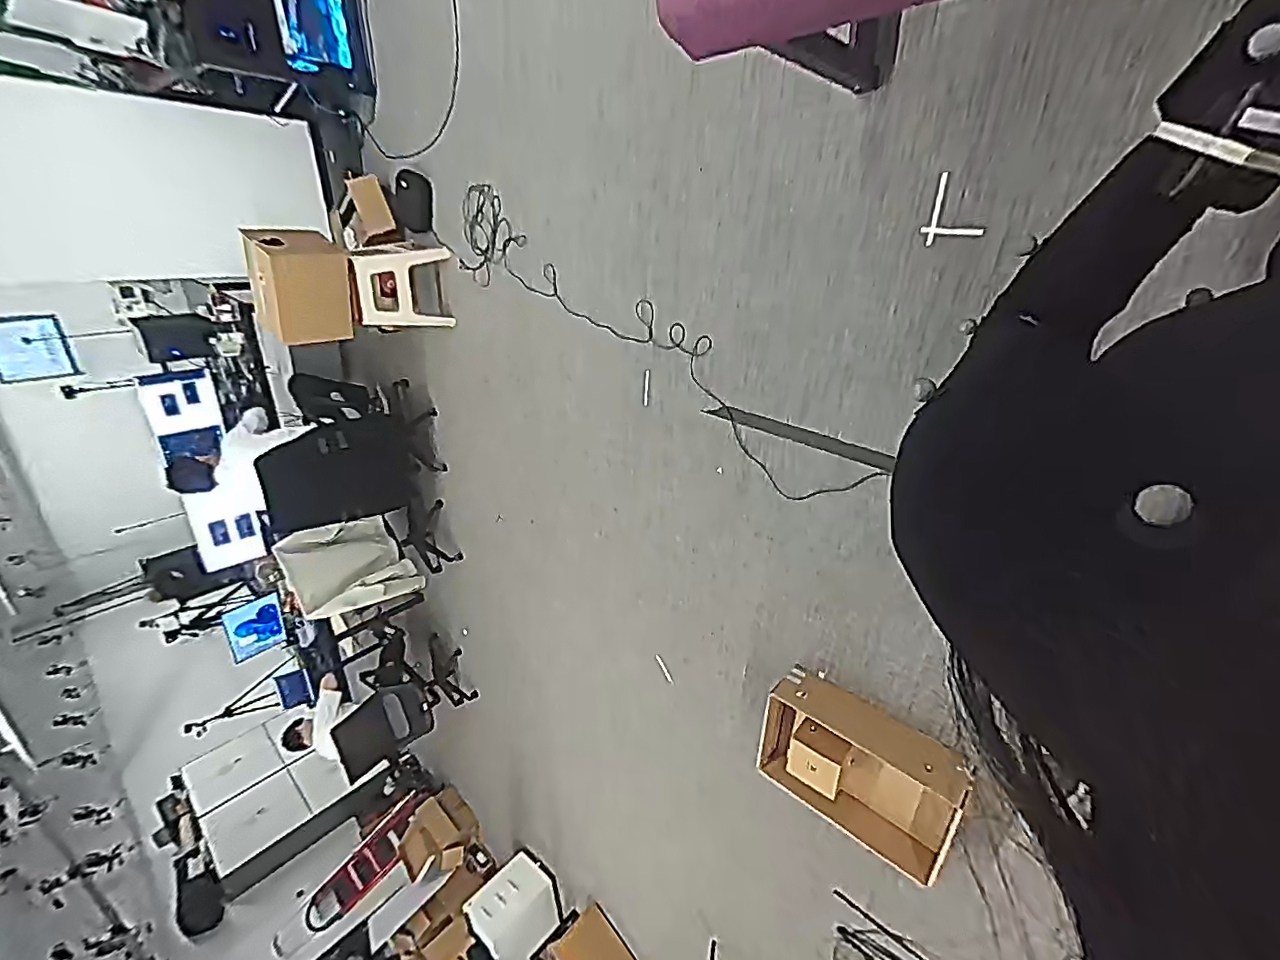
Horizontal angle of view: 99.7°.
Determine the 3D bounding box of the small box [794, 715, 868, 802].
[{"bbox_3d":[0.650,0.937,1.841,0.179,0.176,0.168,18,120,37],"label":"small box"}]
